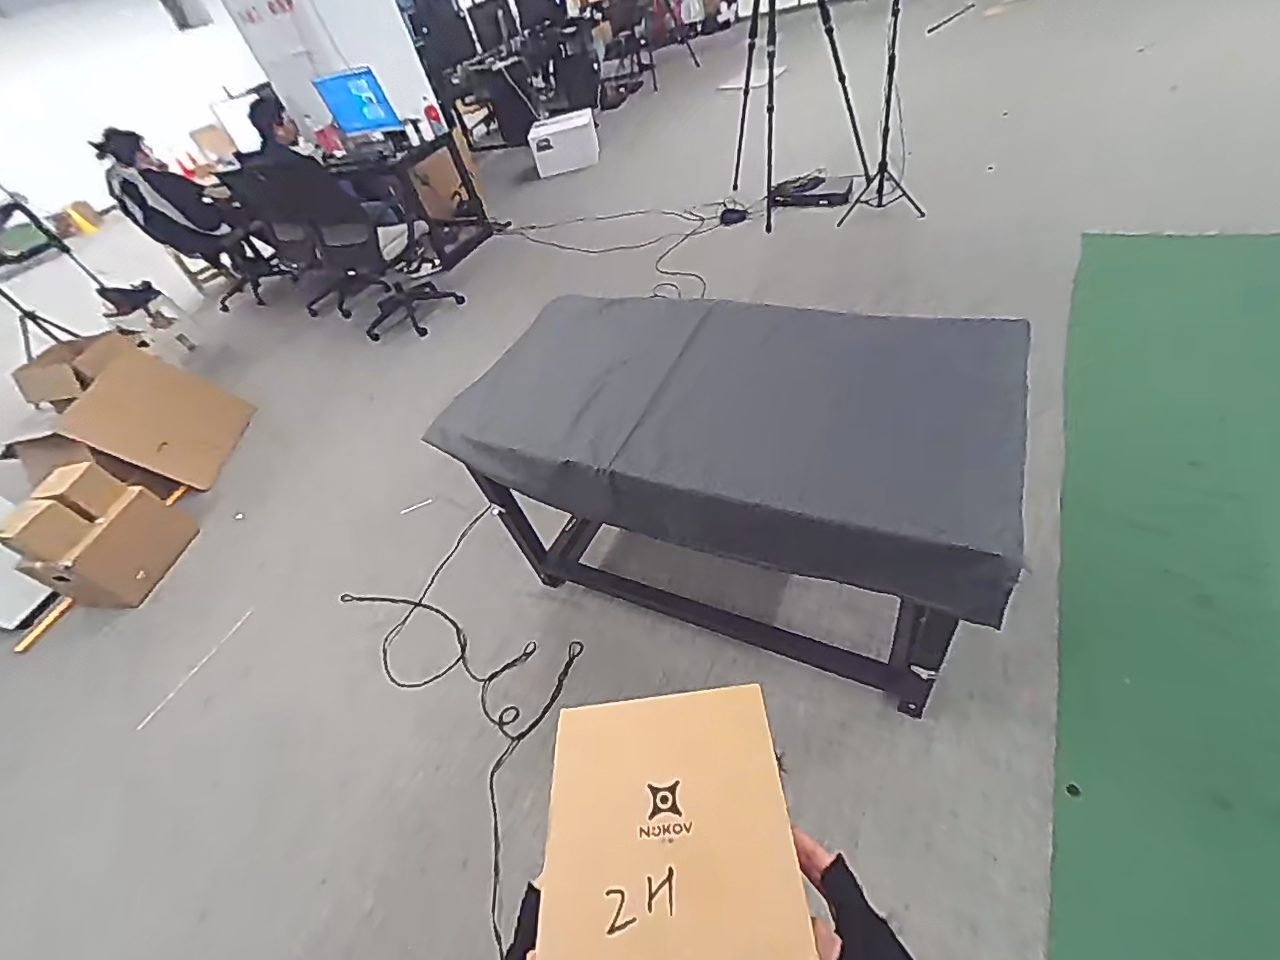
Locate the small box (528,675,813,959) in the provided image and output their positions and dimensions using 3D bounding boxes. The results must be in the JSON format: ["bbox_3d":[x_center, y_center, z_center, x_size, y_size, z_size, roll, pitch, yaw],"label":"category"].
[{"bbox_3d":[0.029,0.281,0.418,0.168,0.176,0.179,-10,38,7],"label":"small box"}]
